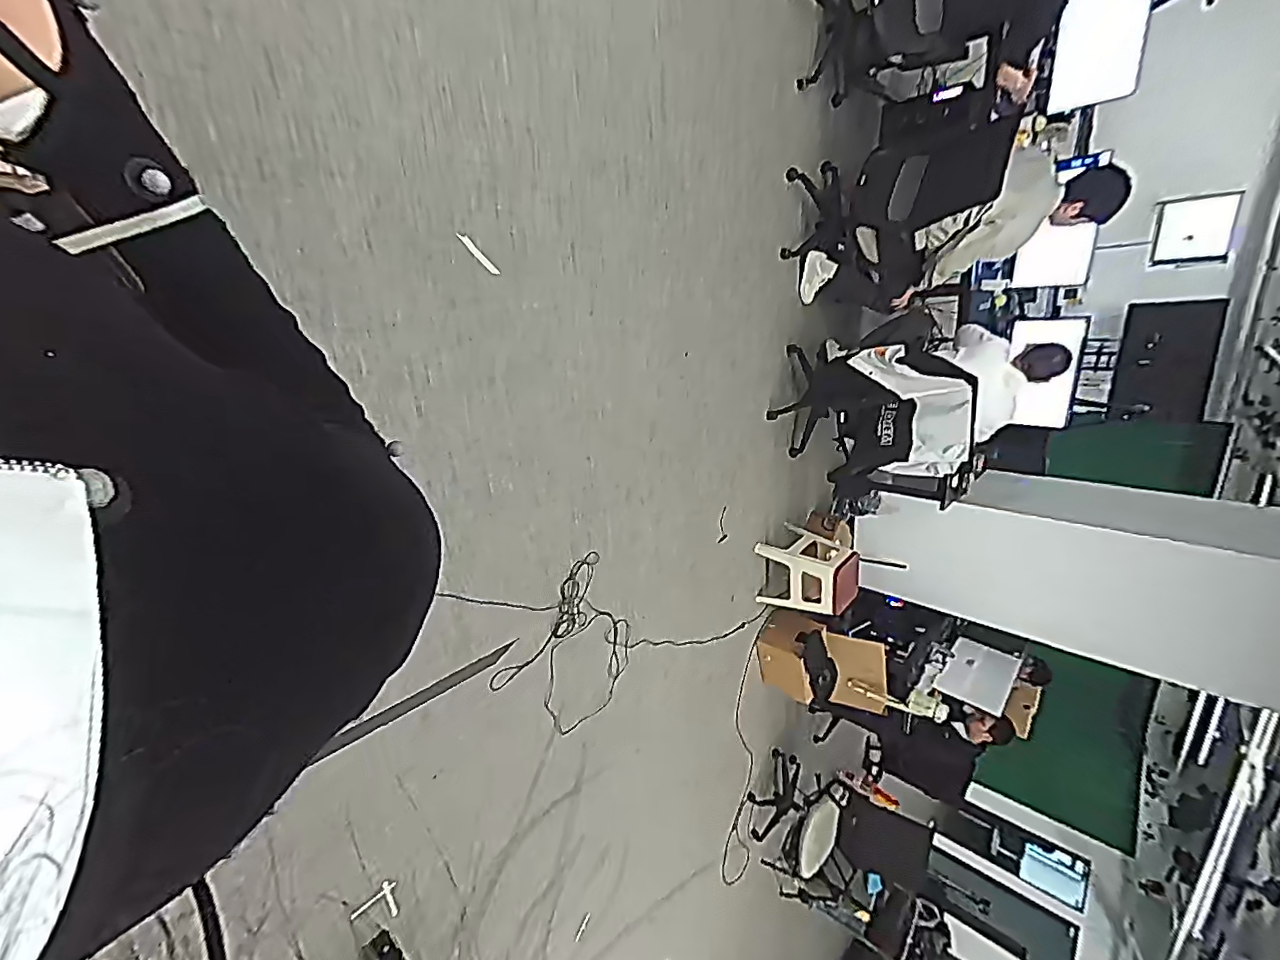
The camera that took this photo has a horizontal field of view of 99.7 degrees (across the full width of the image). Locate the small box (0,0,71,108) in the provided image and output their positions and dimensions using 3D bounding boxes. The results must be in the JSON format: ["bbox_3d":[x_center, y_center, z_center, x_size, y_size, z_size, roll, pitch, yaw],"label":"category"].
[{"bbox_3d":[-0.617,-0.442,0.442,0.168,0.176,0.179,-22,116,-45],"label":"small box"}]
